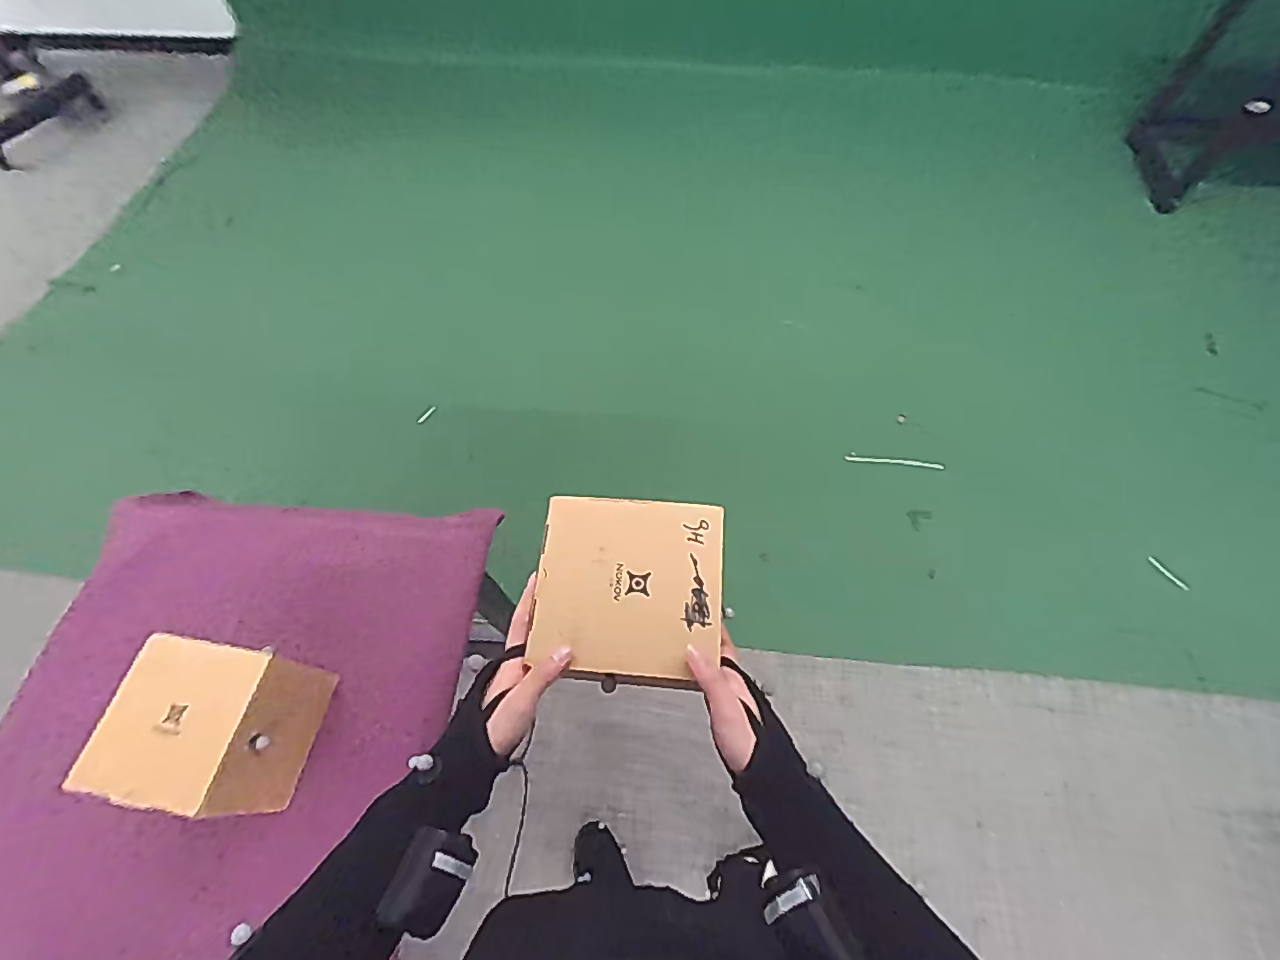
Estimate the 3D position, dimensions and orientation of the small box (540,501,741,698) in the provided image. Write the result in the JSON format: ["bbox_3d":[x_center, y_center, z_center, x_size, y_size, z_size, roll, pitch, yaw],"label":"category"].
[{"bbox_3d":[0.008,0.135,0.577,0.179,0.176,0.168,5,66,4],"label":"small box"}]

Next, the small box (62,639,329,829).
[{"bbox_3d":[-0.537,0.322,0.691,0.168,0.176,0.179,9,63,4],"label":"small box"}]
